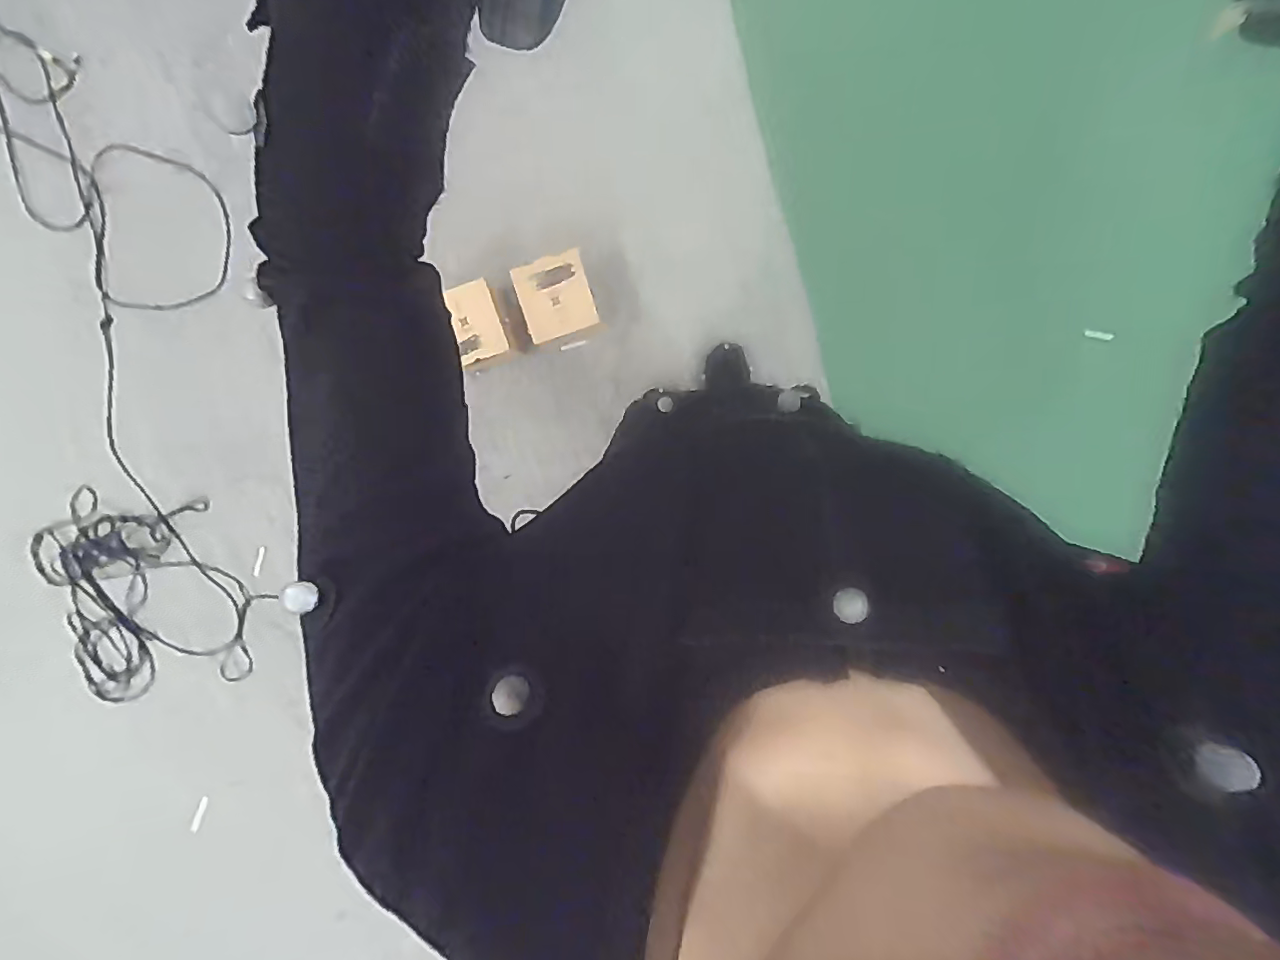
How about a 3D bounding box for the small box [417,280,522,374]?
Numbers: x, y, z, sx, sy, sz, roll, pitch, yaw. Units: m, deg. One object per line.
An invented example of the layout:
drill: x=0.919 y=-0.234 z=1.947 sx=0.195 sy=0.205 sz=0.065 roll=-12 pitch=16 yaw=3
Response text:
small box: x=-0.409 y=-0.368 z=1.333 sx=0.168 sy=0.176 sz=0.179 roll=-18 pitch=98 yaw=5
